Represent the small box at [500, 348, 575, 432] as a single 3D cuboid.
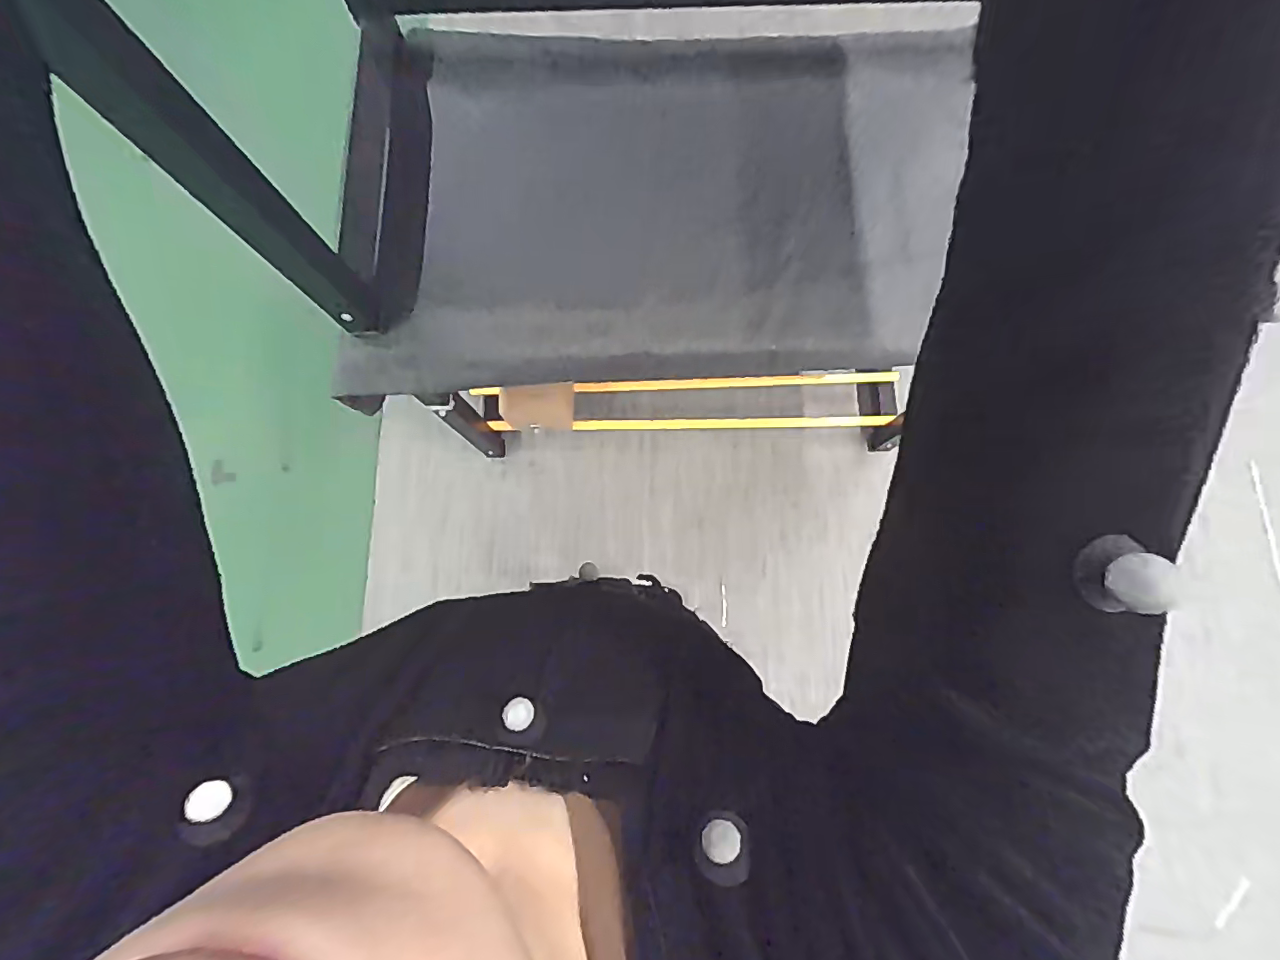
[{"bbox_3d":[-0.264,-0.232,1.423,0.168,0.176,0.179,-1,79,1],"label":"small box"}]
